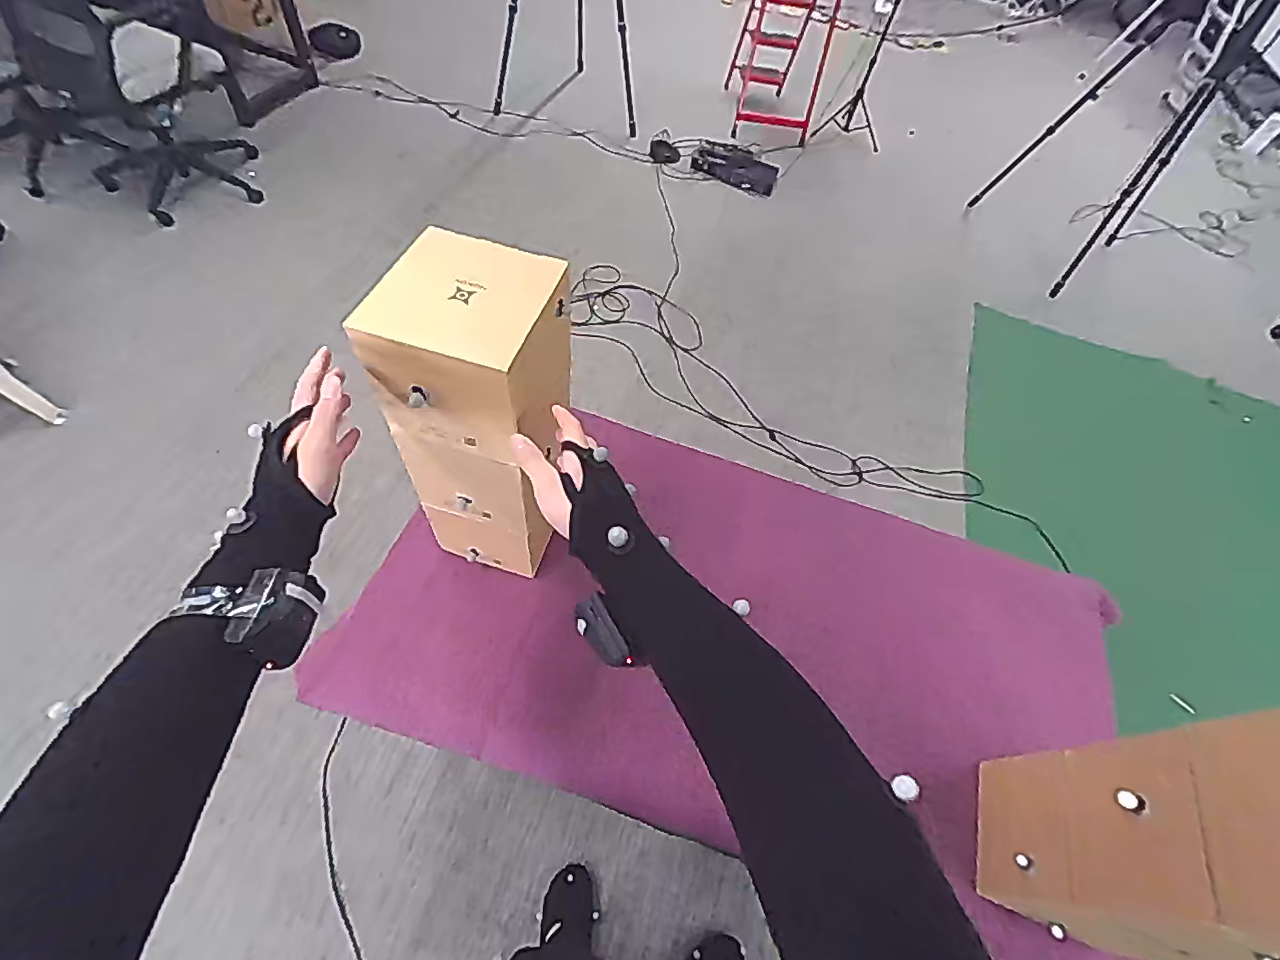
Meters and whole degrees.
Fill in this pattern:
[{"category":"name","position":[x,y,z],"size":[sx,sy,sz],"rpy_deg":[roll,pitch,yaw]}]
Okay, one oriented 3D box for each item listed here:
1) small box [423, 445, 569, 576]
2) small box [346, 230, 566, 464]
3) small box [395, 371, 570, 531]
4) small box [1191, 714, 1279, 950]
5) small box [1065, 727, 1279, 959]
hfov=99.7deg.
[{"category":"small box","position":[-0.225,0.031,0.887],"size":[0.168,0.176,0.179],"rpy_deg":[17,58,3]},{"category":"small box","position":[-0.186,-0.144,0.615],"size":[0.168,0.176,0.179],"rpy_deg":[16,56,3]},{"category":"small box","position":[-0.204,-0.057,0.751],"size":[0.168,0.176,0.179],"rpy_deg":[16,58,3]},{"category":"small box","position":[0.611,0.301,0.436],"size":[0.168,0.176,0.179],"rpy_deg":[21,57,7]},{"category":"small box","position":[0.592,0.395,0.571],"size":[0.168,0.176,0.179],"rpy_deg":[21,56,7]}]
